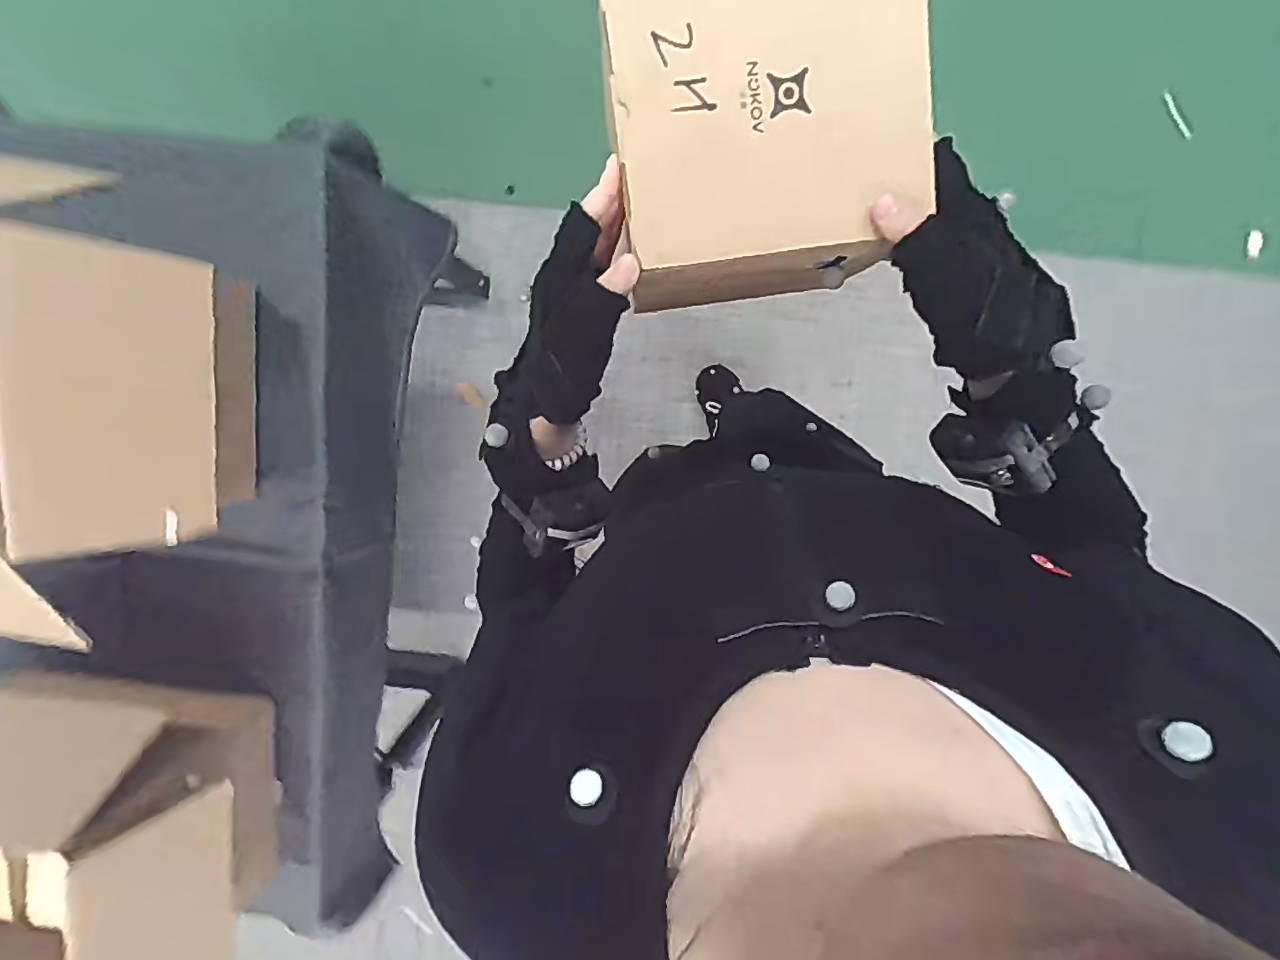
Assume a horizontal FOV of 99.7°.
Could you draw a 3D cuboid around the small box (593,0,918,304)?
[{"bbox_3d":[0.064,-0.228,0.379,0.179,0.176,0.168,-8,99,-1],"label":"small box"}]
